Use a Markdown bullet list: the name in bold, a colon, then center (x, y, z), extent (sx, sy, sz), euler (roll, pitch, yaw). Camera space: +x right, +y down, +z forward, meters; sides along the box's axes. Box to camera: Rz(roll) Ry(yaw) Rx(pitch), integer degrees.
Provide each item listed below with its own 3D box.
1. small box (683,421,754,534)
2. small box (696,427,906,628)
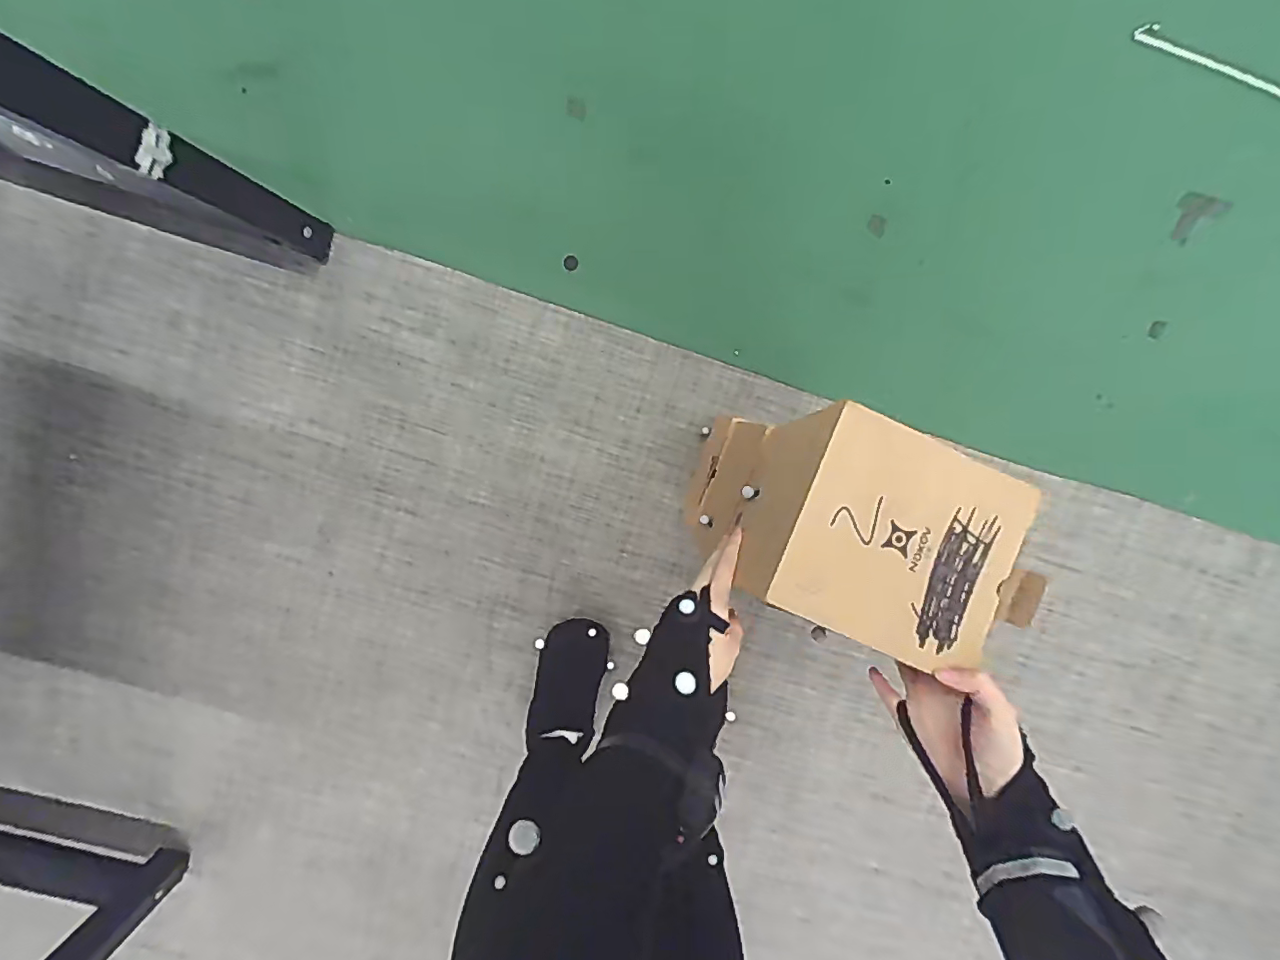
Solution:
- **small box**: center (0.176, 0.017, 0.812), extent (0.179, 0.176, 0.168), euler (21, 97, -5)
- **small box**: center (0.175, 0.045, 0.652), extent (0.168, 0.176, 0.179), euler (20, 96, -4)
